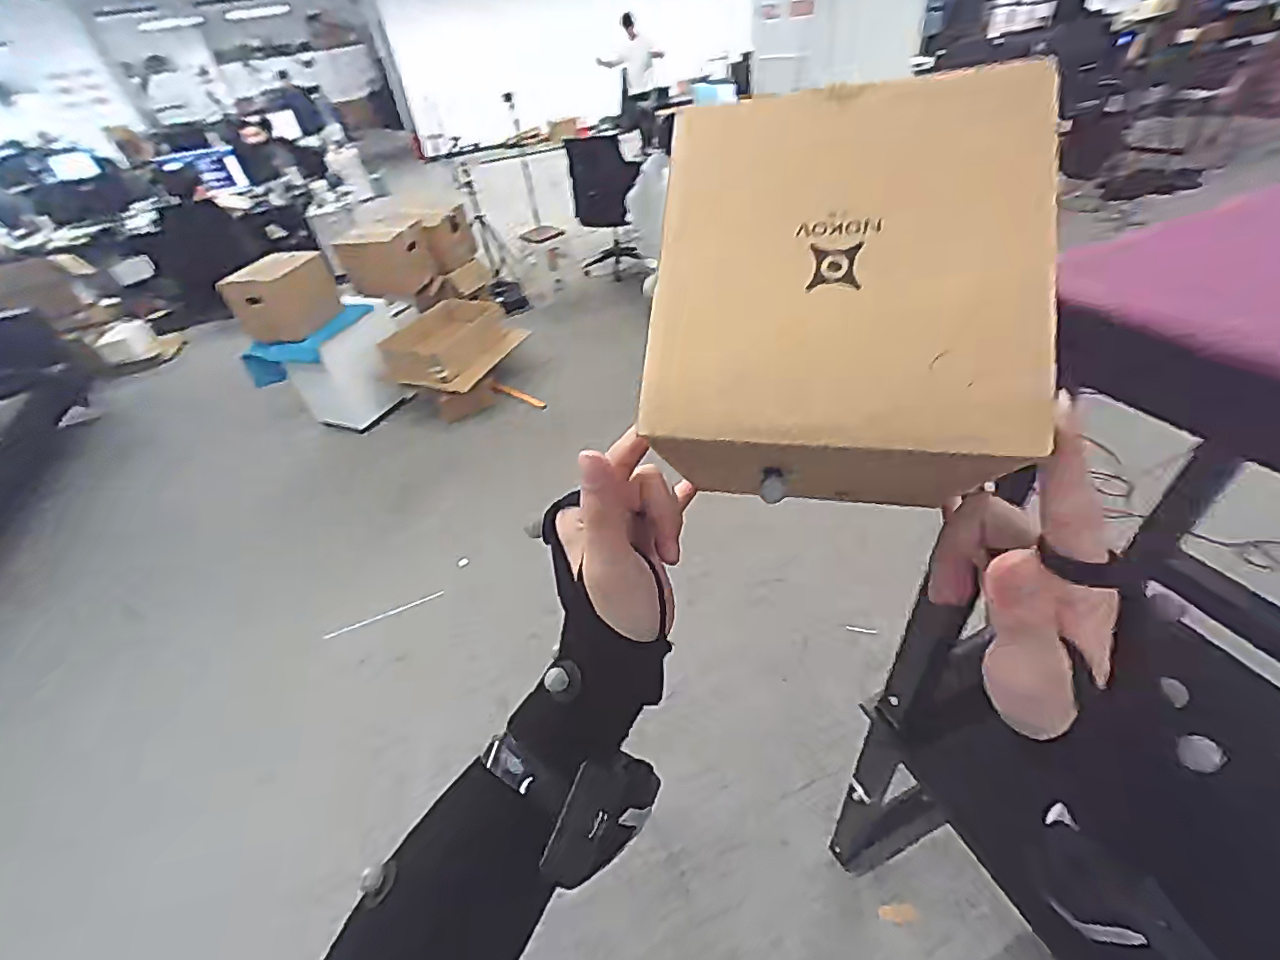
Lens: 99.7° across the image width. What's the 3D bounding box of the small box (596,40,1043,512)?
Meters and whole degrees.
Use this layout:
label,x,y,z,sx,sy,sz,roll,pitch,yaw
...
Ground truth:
label,x,y,z,sx,sy,sz,roll,pitch,yaw
small box,0.091,-0.082,0.300,0.168,0.176,0.179,6,80,17
